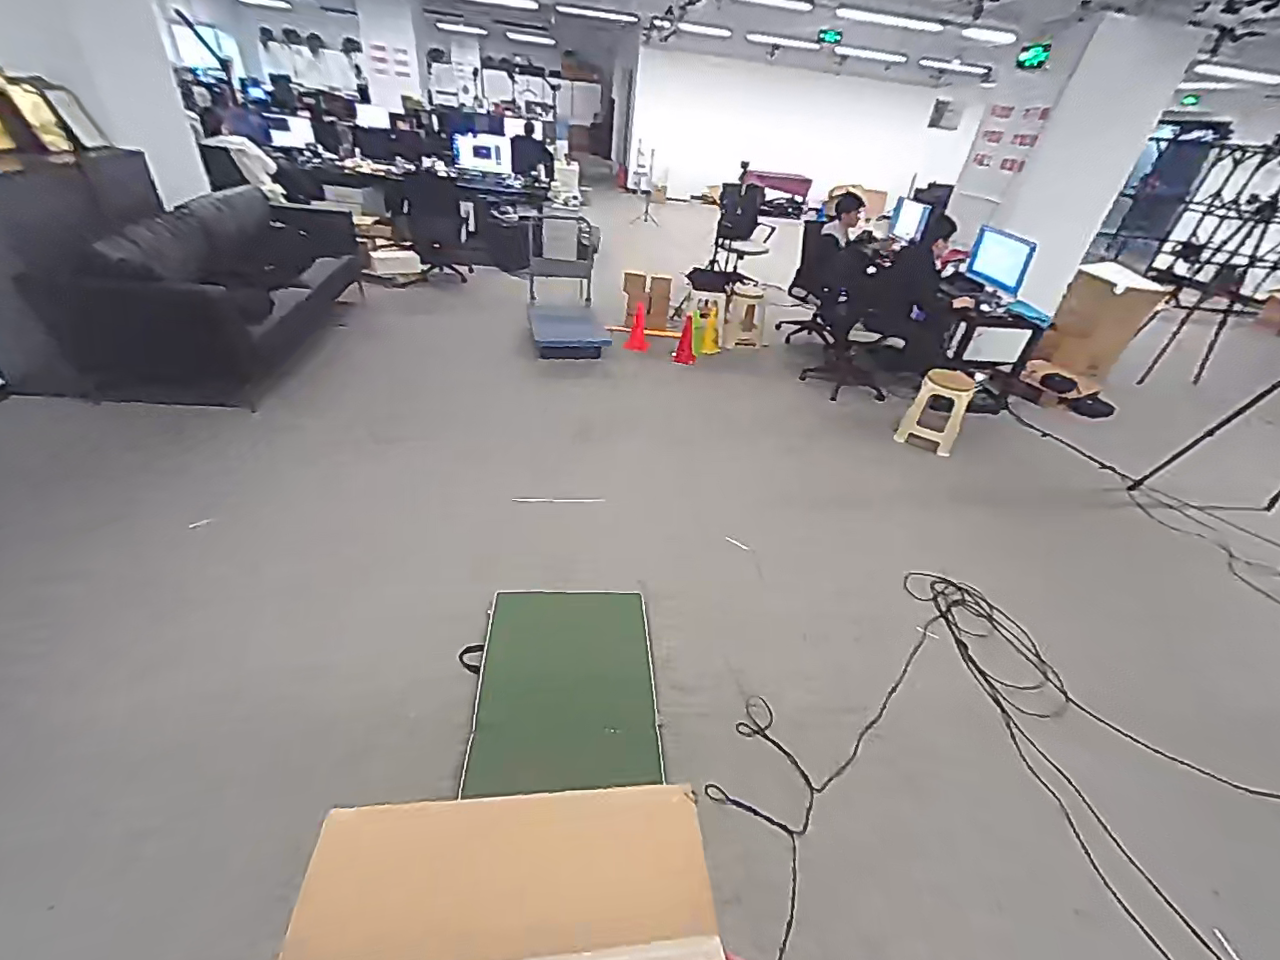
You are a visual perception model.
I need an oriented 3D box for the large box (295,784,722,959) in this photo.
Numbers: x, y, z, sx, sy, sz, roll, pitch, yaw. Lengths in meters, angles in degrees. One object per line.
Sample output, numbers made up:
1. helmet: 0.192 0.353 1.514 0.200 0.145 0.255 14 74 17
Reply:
1. large box: -0.133 0.579 0.587 0.408 0.320 0.320 1 37 -9
